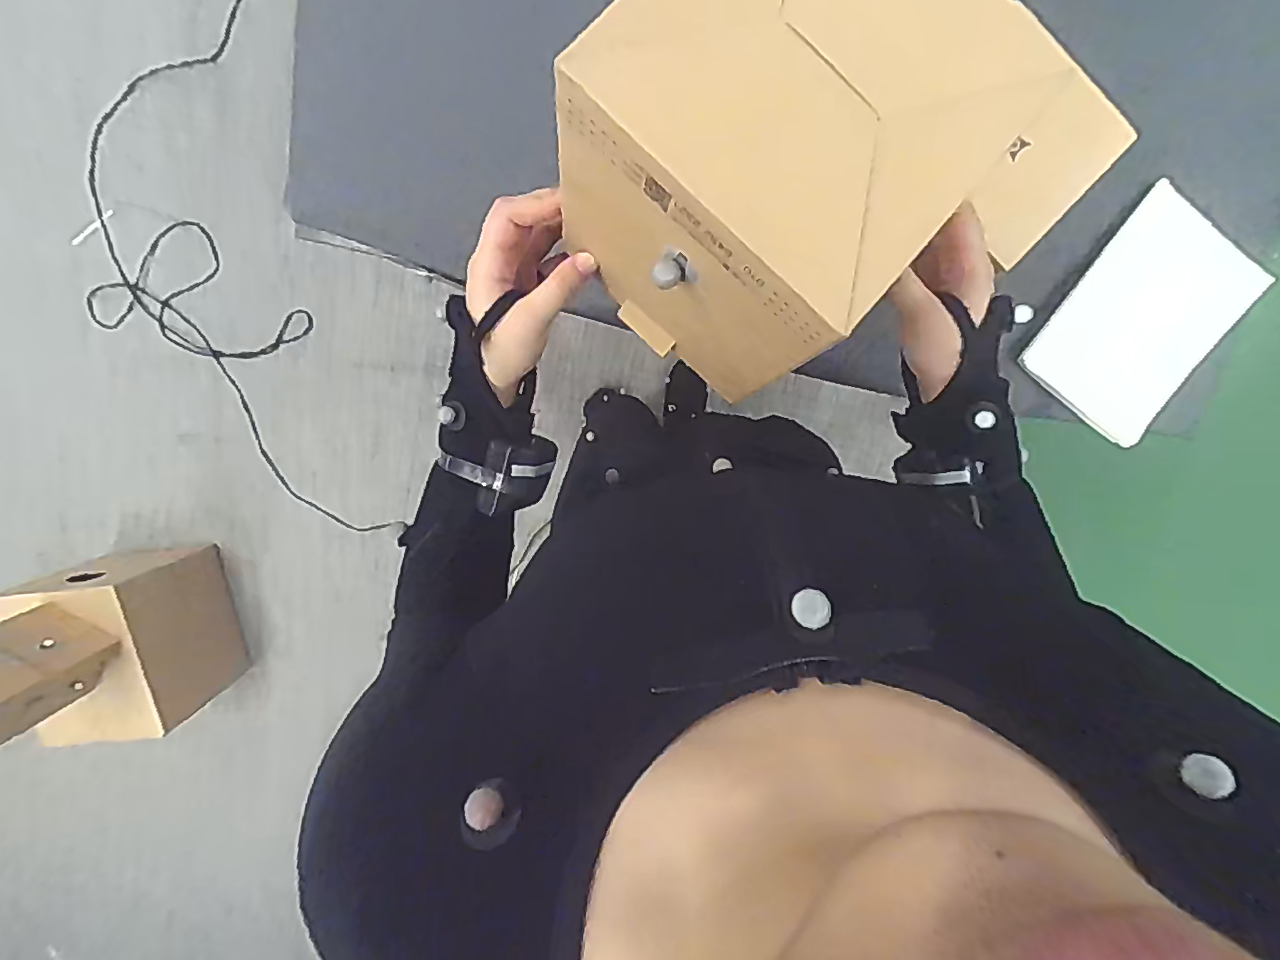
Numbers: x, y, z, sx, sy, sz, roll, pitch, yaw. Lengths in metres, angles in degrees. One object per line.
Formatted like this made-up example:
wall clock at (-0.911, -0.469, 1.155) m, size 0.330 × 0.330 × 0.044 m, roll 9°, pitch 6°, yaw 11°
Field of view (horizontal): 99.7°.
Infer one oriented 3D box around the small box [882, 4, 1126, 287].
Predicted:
small box at (0.342, -0.332, 0.587) m, size 0.179 × 0.176 × 0.168 m, roll 41°, pitch 98°, yaw -6°

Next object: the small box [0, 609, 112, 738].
small box at (-1.331, 0.411, 1.180) m, size 0.179 × 0.176 × 0.168 m, roll 33°, pitch 99°, yaw -8°

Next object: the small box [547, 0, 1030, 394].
small box at (0.064, -0.178, 0.311) m, size 0.168 × 0.176 × 0.179 m, roll 41°, pitch 83°, yaw -3°
